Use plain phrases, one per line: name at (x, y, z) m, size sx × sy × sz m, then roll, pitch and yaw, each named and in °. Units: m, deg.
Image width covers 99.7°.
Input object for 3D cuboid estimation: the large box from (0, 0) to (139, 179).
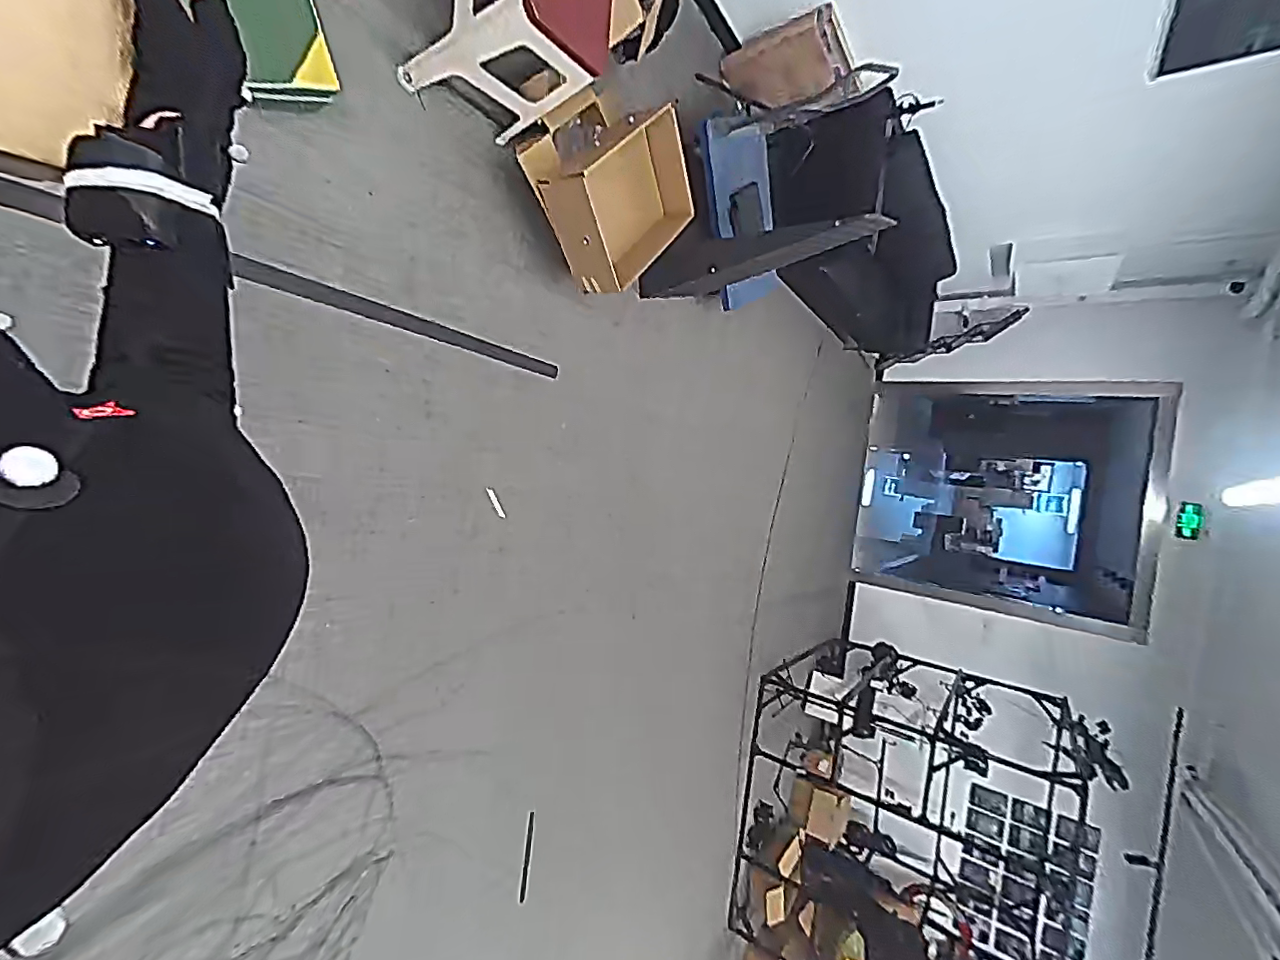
large box at (-0.594, -0.411, 0.301) m, size 0.408 × 0.320 × 0.320 m, roll -7°, pitch 115°, yaw -58°
